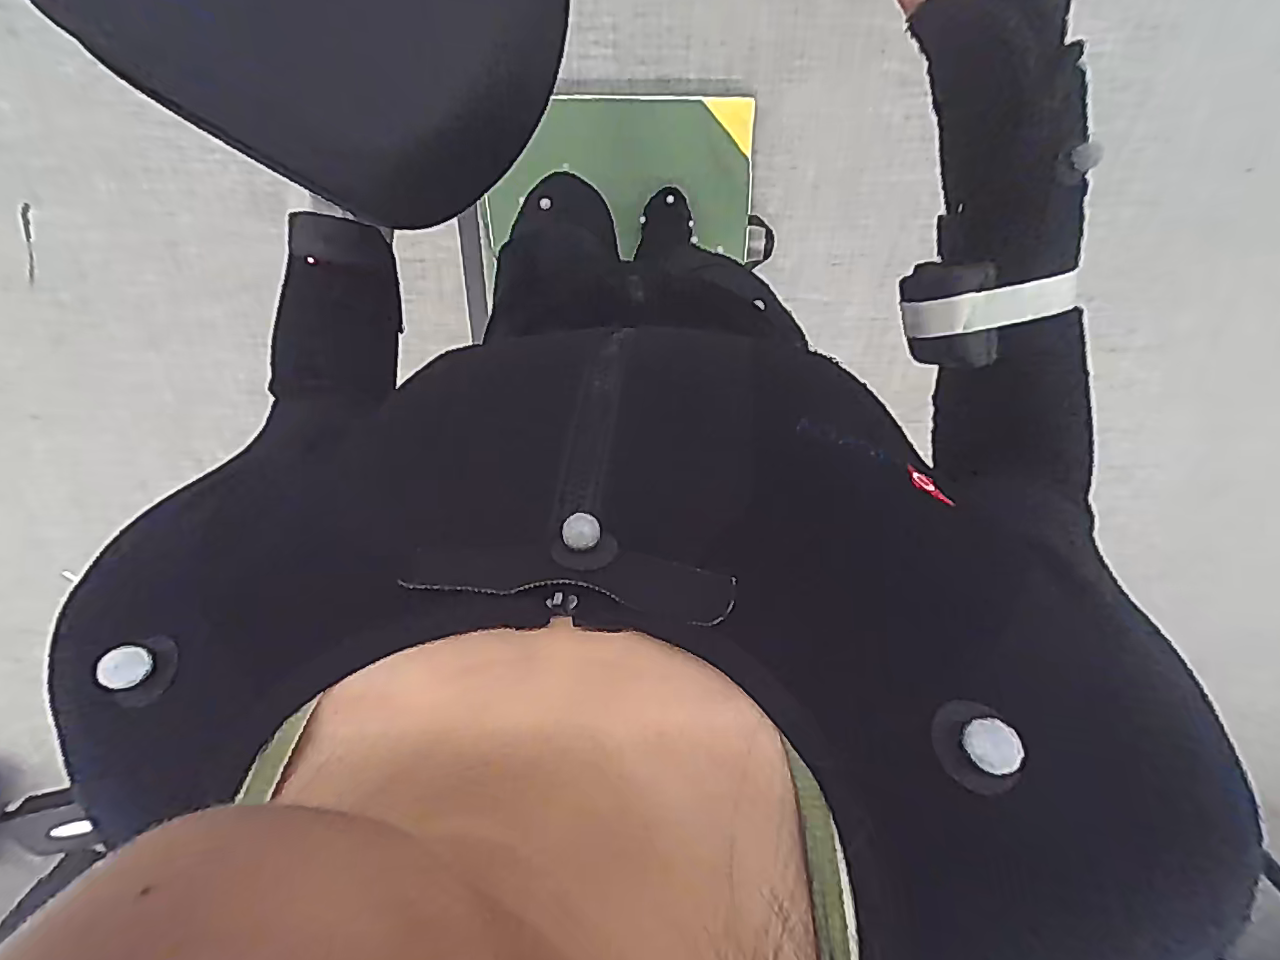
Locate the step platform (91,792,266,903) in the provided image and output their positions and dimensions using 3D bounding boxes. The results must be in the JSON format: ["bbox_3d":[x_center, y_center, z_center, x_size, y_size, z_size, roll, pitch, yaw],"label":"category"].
[{"bbox_3d":[-2.031,1.625,2.381,0.684,0.204,0.286,-26,116,12],"label":"step platform"}]
